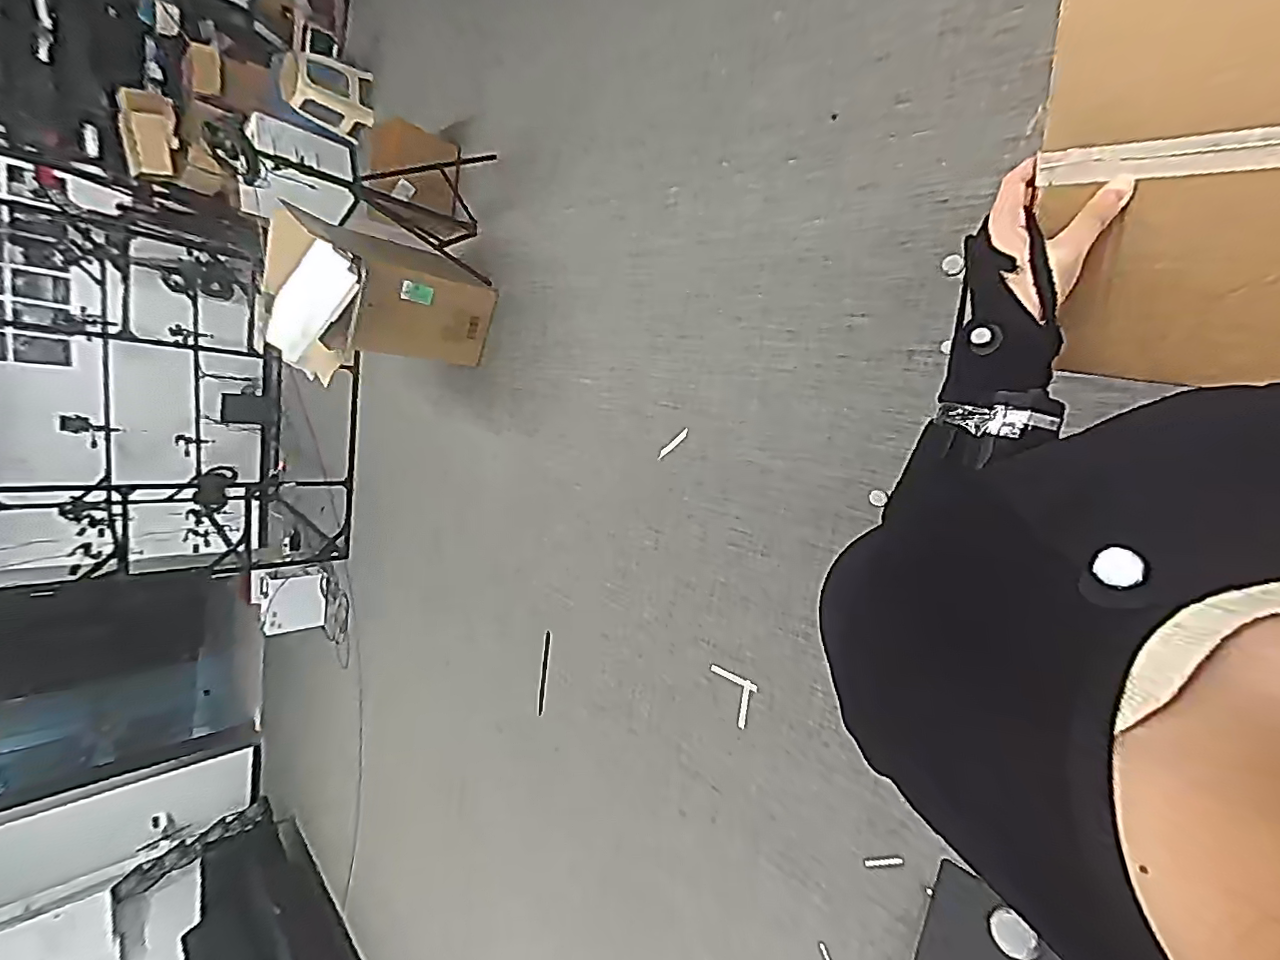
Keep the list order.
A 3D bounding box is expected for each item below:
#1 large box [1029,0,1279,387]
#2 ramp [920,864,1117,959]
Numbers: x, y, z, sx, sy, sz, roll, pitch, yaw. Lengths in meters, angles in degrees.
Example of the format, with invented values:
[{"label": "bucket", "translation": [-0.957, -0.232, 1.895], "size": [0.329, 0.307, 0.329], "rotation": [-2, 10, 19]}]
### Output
[{"label": "large box", "translation": [0.514, -0.254, 0.302], "size": [0.408, 0.320, 0.320], "rotation": [21, 145, 44]}, {"label": "ramp", "translation": [0.792, 1.442, 1.151], "size": [0.509, 0.206, 0.991], "rotation": [14, 100, 44]}]
